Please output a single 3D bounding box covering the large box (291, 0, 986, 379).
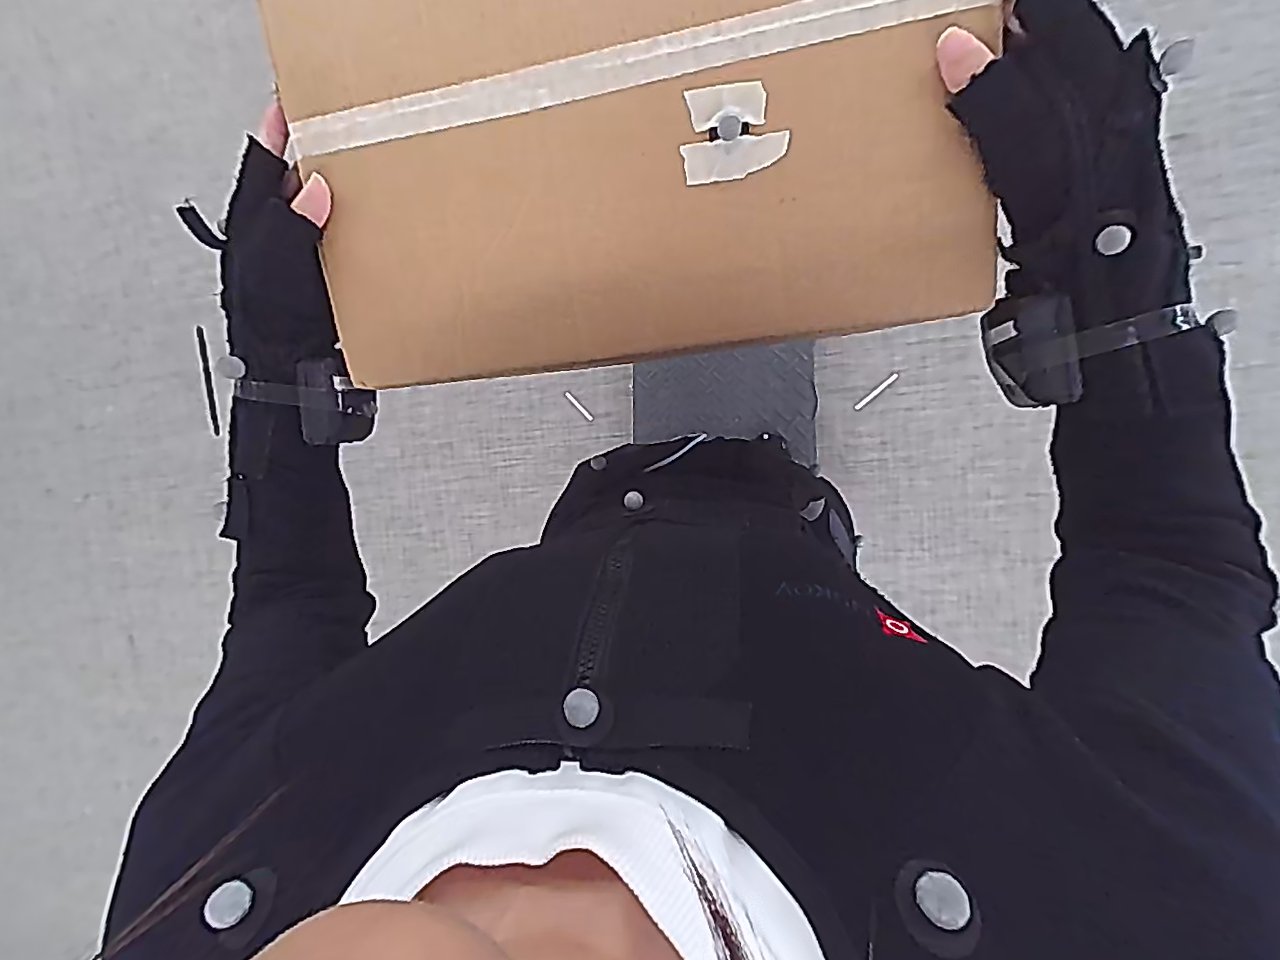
[{"bbox_3d":[0.007,-0.273,0.462,0.408,0.320,0.320,-5,103,9],"label":"large box"}]
